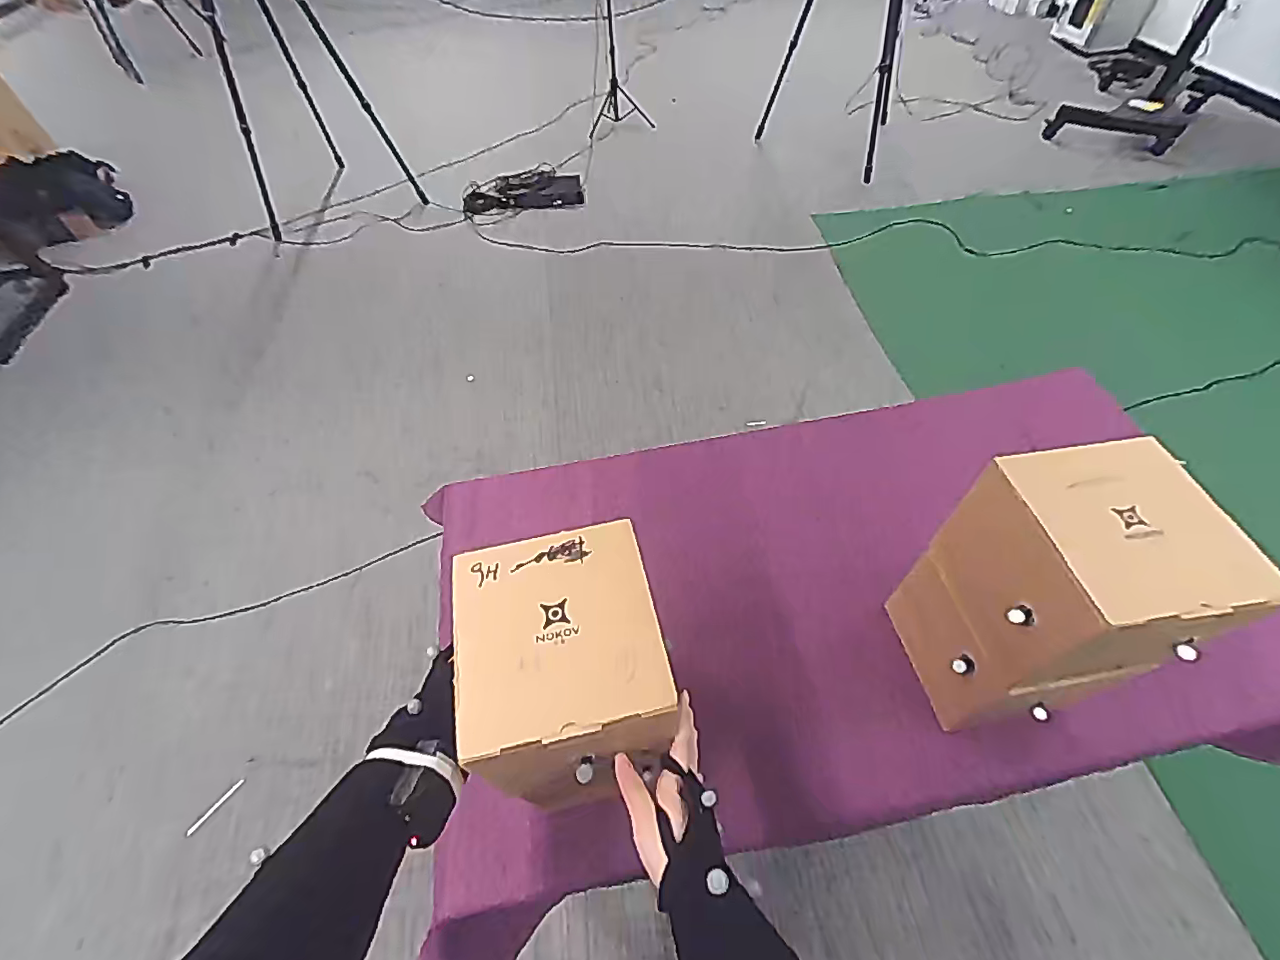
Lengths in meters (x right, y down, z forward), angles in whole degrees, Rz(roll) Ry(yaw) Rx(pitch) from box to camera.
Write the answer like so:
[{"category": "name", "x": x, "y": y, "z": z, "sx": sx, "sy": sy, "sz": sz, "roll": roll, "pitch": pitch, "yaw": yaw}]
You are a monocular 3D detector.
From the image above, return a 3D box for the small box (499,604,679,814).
[{"category": "small box", "x": -0.055, "y": 0.272, "z": 0.636, "sx": 0.179, "sy": 0.176, "sz": 0.168, "roll": -11, "pitch": 52, "yaw": -6}]

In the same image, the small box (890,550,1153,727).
[{"category": "small box", "x": 0.440, "y": 0.189, "z": 0.663, "sx": 0.168, "sy": 0.176, "sz": 0.179, "roll": -9, "pitch": 52, "yaw": -3}]

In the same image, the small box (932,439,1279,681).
[{"category": "small box", "x": 0.431, "y": 0.086, "z": 0.537, "sx": 0.168, "sy": 0.176, "sz": 0.179, "roll": -7, "pitch": 52, "yaw": -2}]
